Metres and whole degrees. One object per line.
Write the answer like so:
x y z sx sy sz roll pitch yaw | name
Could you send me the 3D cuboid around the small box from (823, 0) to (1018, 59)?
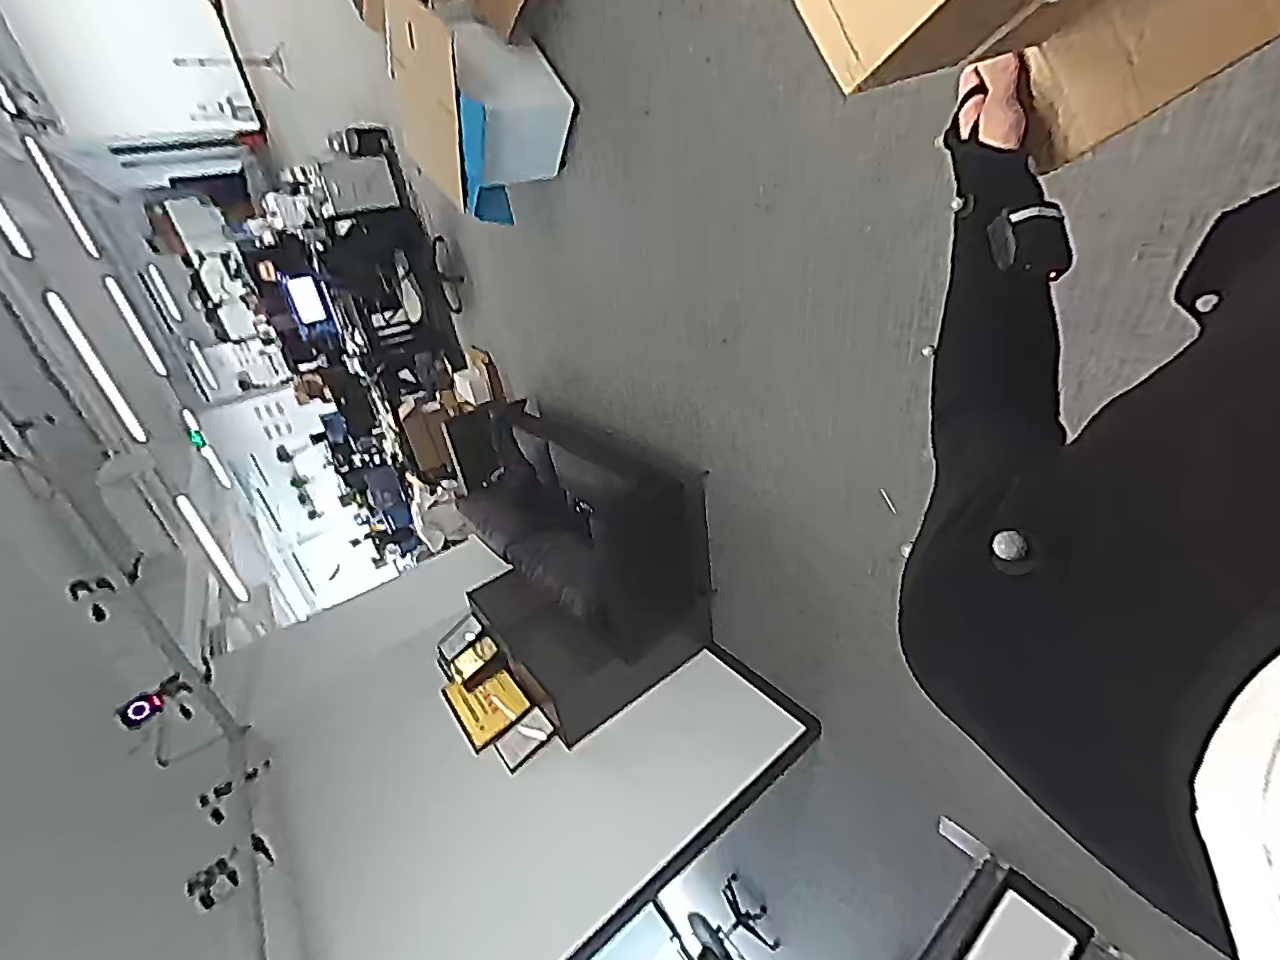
0.179 -0.366 0.274 0.179 0.176 0.168 58 149 -8 | small box
